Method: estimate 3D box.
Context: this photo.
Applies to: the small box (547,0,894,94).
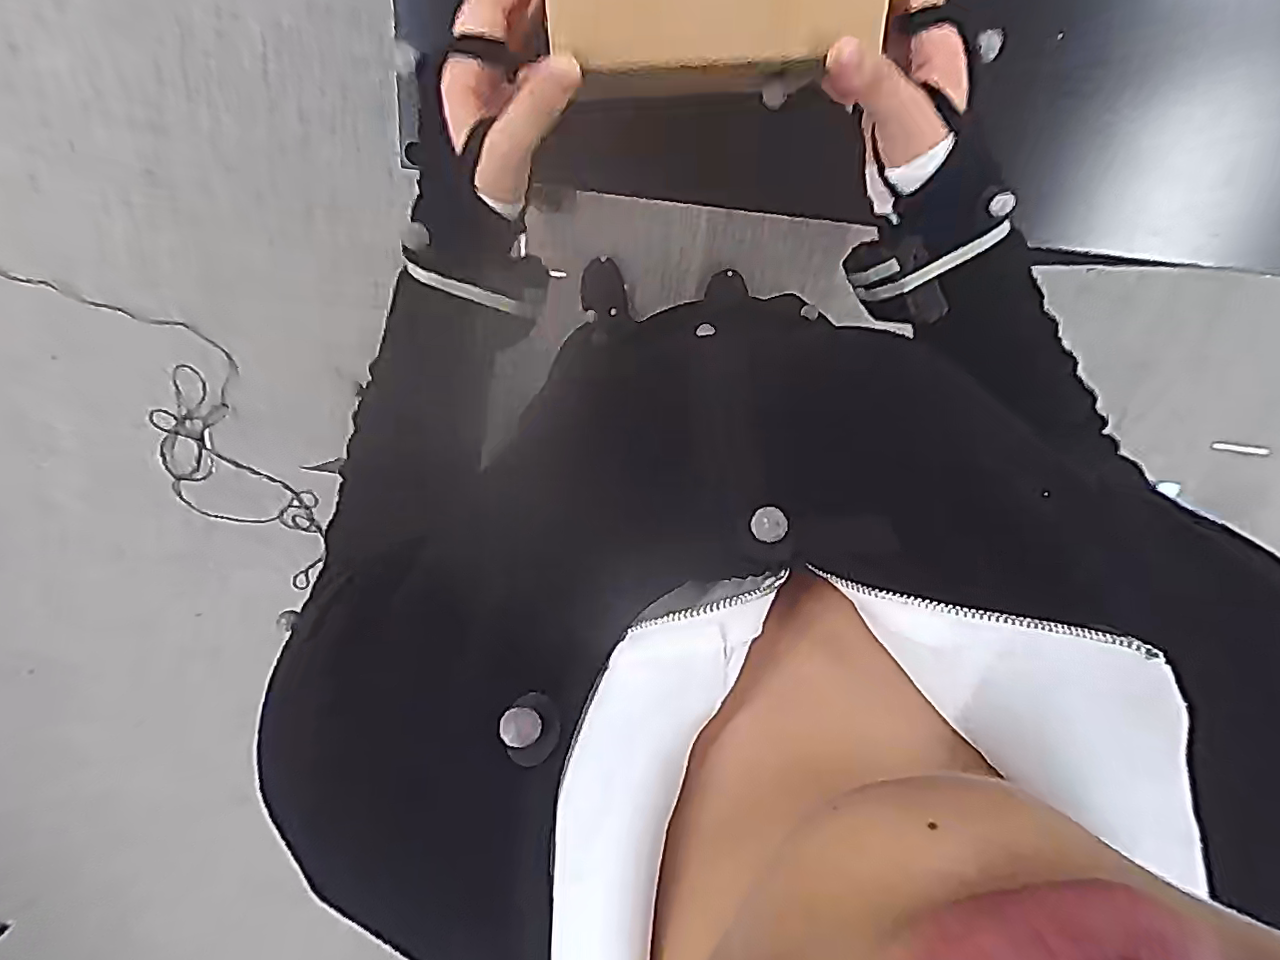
[{"bbox_3d":[0.035,-0.330,0.306,0.179,0.176,0.168,-3,120,-1],"label":"small box"}]
